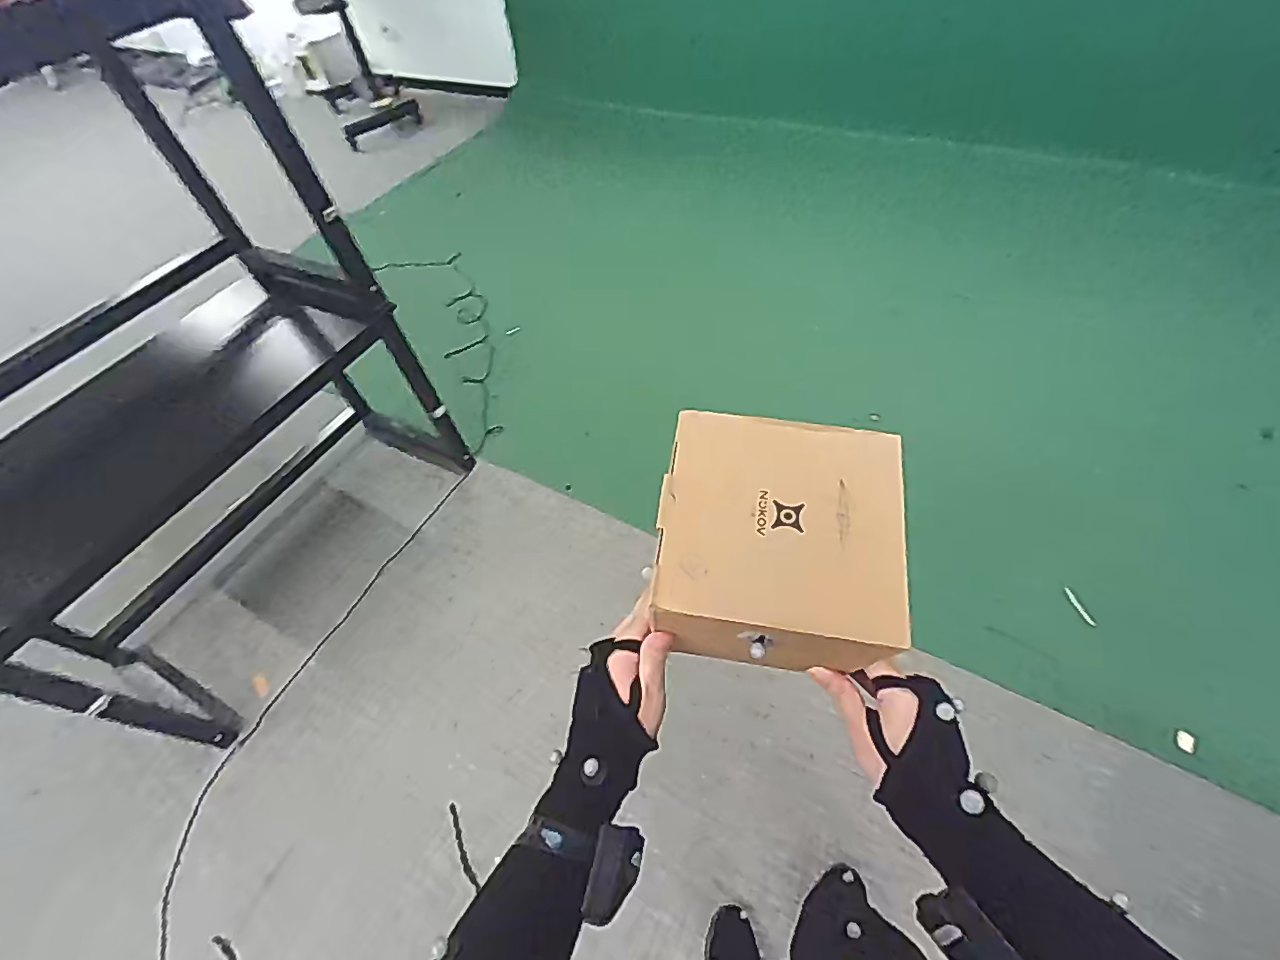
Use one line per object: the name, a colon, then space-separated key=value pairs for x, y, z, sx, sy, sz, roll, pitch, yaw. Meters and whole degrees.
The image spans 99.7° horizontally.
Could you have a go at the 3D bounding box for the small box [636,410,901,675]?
small box: x=0.099 y=0.062 z=0.462 sx=0.179 sy=0.176 sz=0.168 roll=8 pitch=63 yaw=6
